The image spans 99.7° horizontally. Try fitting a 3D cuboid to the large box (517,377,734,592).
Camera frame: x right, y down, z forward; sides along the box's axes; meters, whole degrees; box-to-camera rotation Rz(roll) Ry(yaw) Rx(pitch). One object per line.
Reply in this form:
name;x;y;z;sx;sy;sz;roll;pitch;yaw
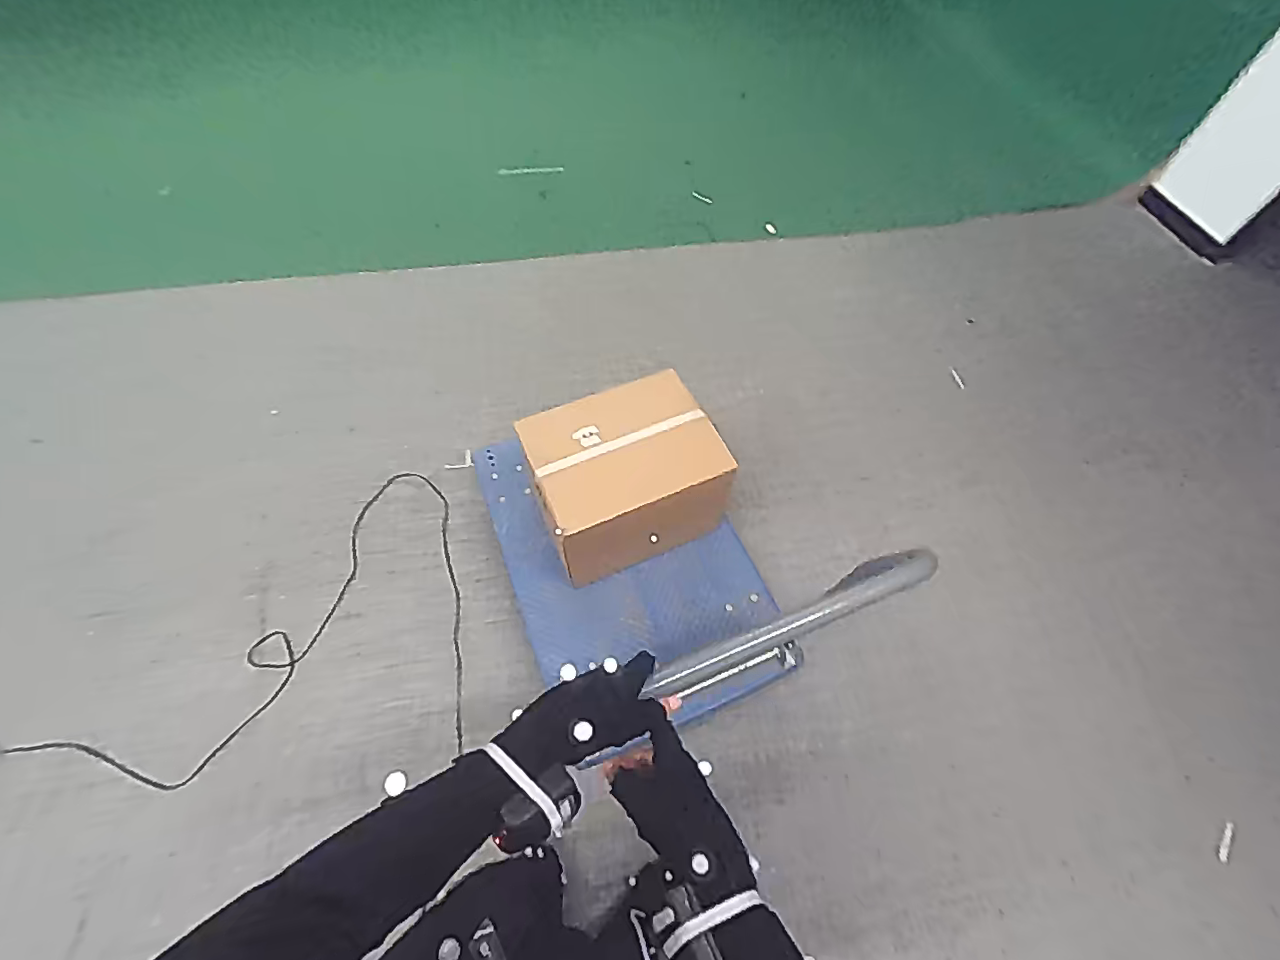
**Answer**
large box;-0.036;0.016;1.314;0.408;0.320;0.320;-21;60;-13
